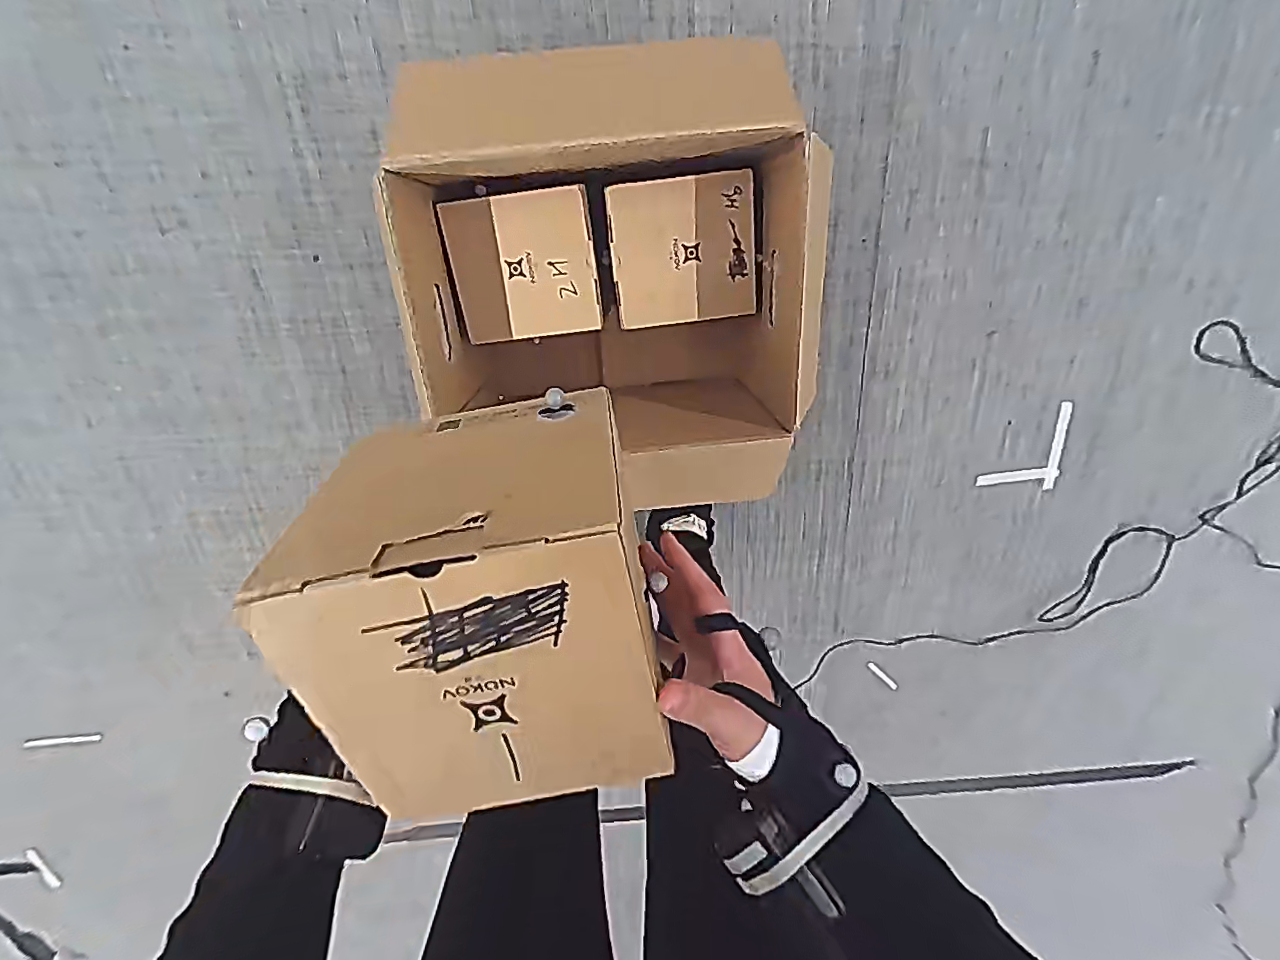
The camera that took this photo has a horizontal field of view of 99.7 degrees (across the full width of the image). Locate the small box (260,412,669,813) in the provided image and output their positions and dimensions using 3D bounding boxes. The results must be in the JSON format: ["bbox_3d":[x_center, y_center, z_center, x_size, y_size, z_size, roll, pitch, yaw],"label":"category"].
[{"bbox_3d":[-0.082,0.068,0.344,0.168,0.176,0.179,-10,120,0],"label":"small box"}]
